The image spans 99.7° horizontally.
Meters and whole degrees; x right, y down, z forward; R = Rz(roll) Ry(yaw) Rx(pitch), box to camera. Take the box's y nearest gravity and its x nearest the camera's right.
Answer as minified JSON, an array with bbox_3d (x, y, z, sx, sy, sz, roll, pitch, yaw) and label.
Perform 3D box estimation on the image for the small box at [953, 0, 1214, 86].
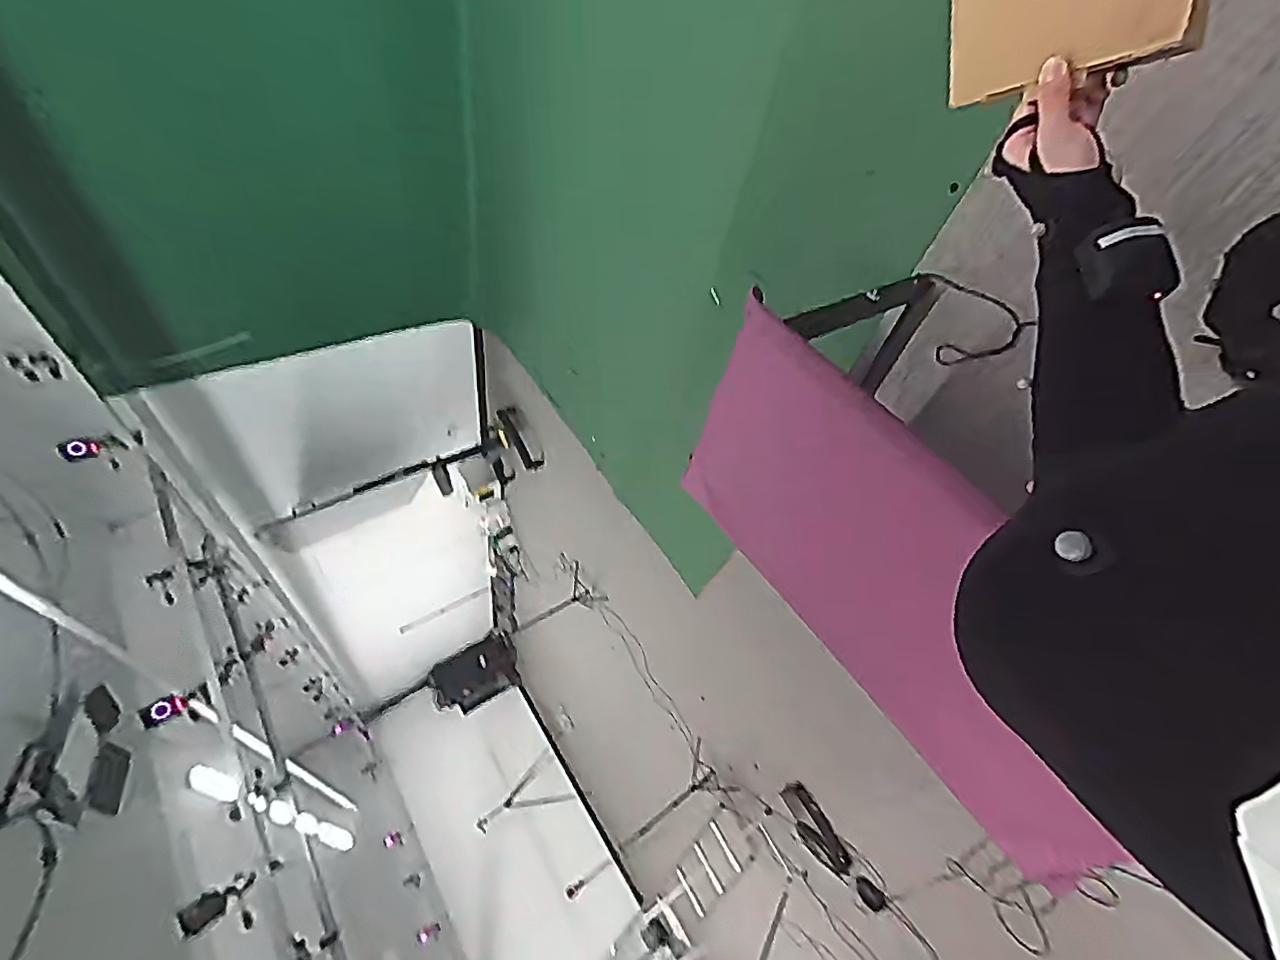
[{"bbox_3d":[0.394,-0.471,0.467,0.168,0.176,0.179,15,127,43],"label":"small box"}]
